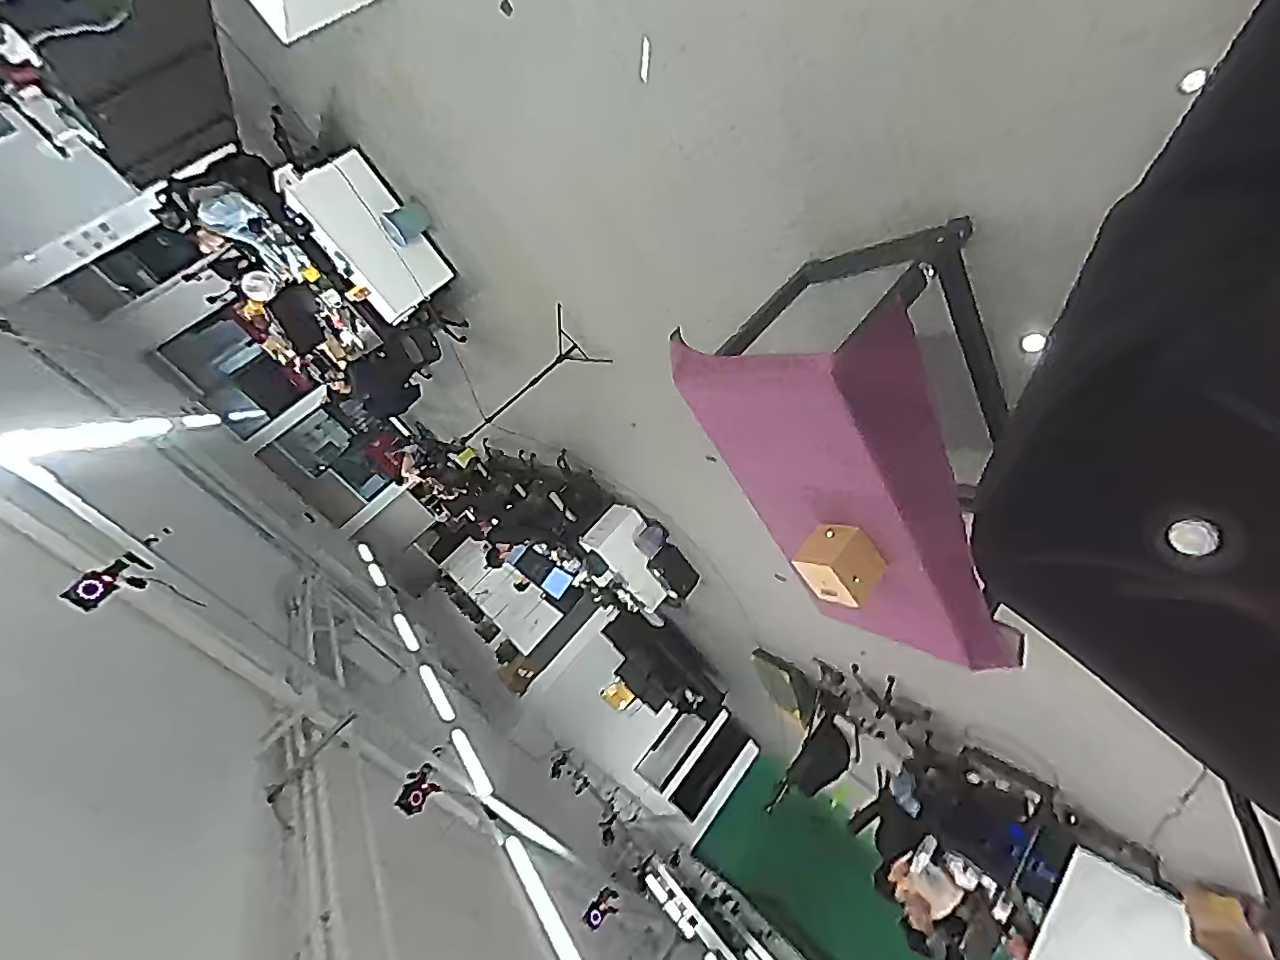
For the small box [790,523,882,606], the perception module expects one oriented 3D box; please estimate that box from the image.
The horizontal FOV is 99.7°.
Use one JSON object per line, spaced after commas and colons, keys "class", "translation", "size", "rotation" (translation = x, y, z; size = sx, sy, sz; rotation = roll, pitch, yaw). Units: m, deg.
{"class": "small box", "translation": [0.607, 0.255, 1.664], "size": [0.179, 0.176, 0.168], "rotation": [50, 159, -16]}
